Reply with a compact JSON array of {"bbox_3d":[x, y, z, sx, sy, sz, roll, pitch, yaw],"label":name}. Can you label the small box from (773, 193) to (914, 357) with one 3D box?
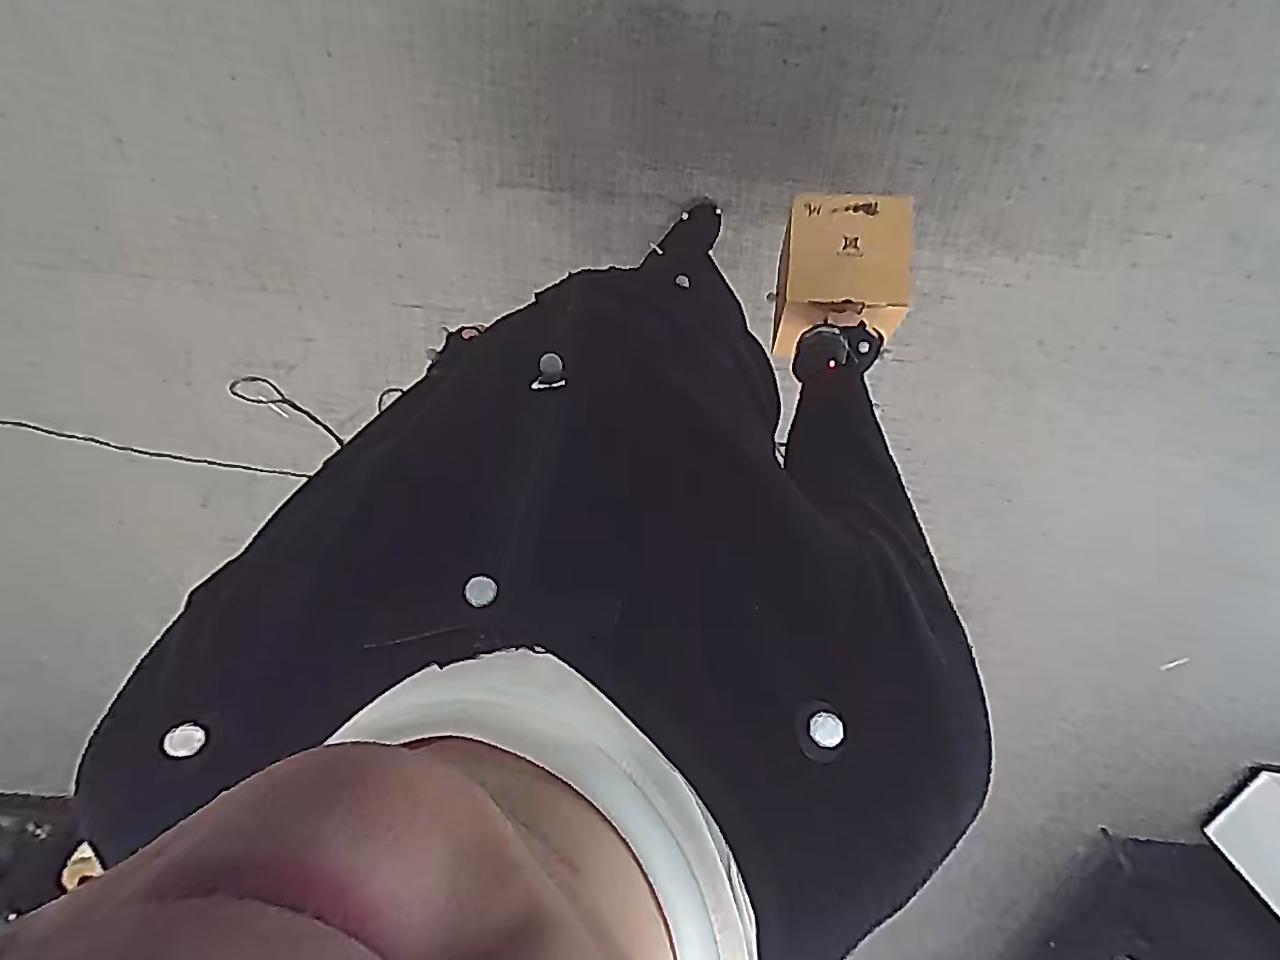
[{"bbox_3d":[0.299,-0.301,0.822,0.168,0.176,0.179,5,79,8],"label":"small box"}]
